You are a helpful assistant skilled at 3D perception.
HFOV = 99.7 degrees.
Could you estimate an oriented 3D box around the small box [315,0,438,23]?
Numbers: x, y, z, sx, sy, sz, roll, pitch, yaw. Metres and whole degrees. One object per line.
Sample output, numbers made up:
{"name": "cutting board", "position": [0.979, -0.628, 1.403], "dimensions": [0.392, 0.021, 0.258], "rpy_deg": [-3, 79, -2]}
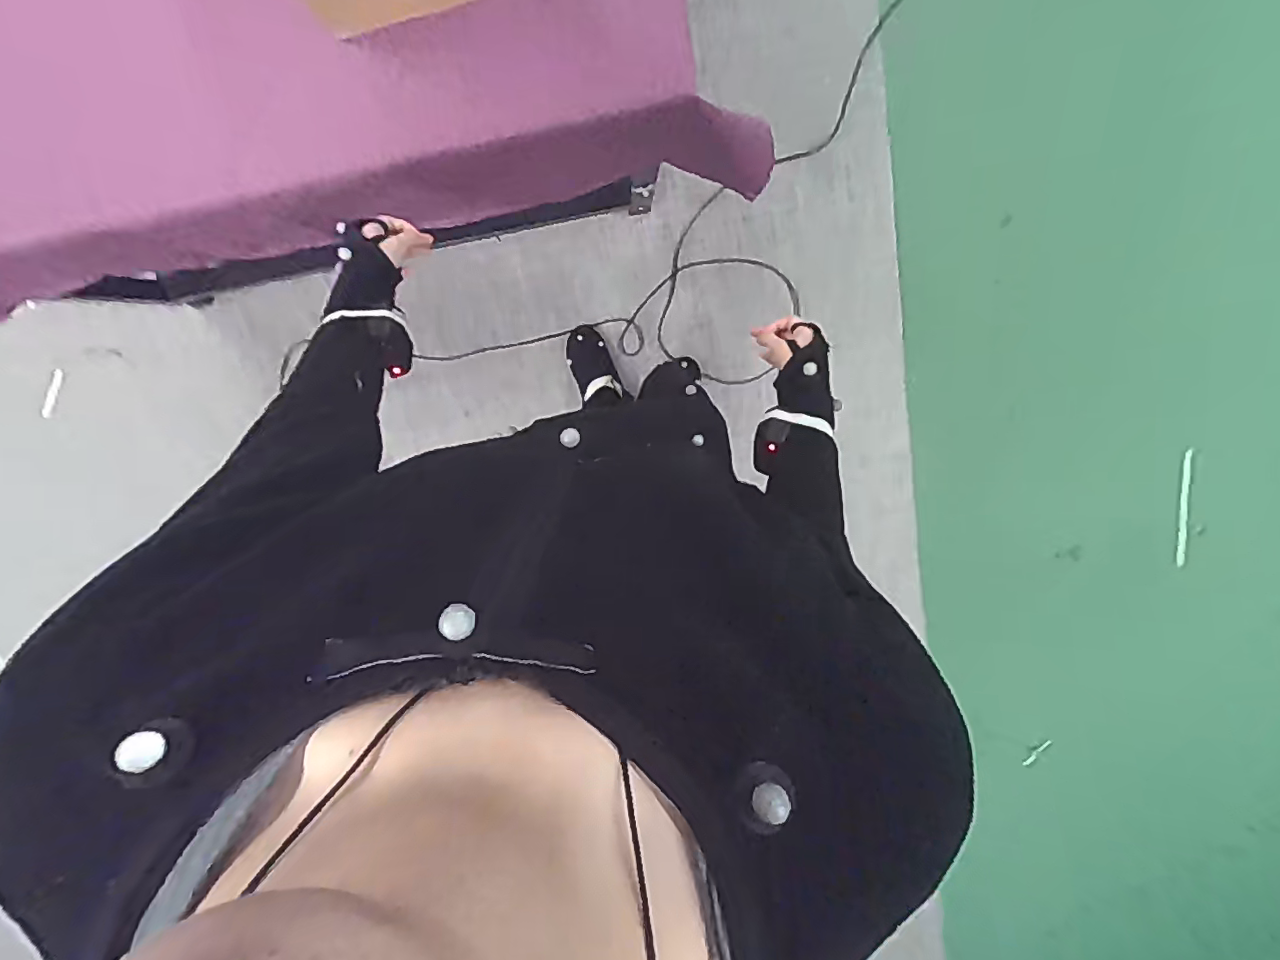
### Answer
{"name": "small box", "position": [-0.275, -0.577, 0.503], "dimensions": [0.179, 0.176, 0.168], "rpy_deg": [-14, 105, 3]}
